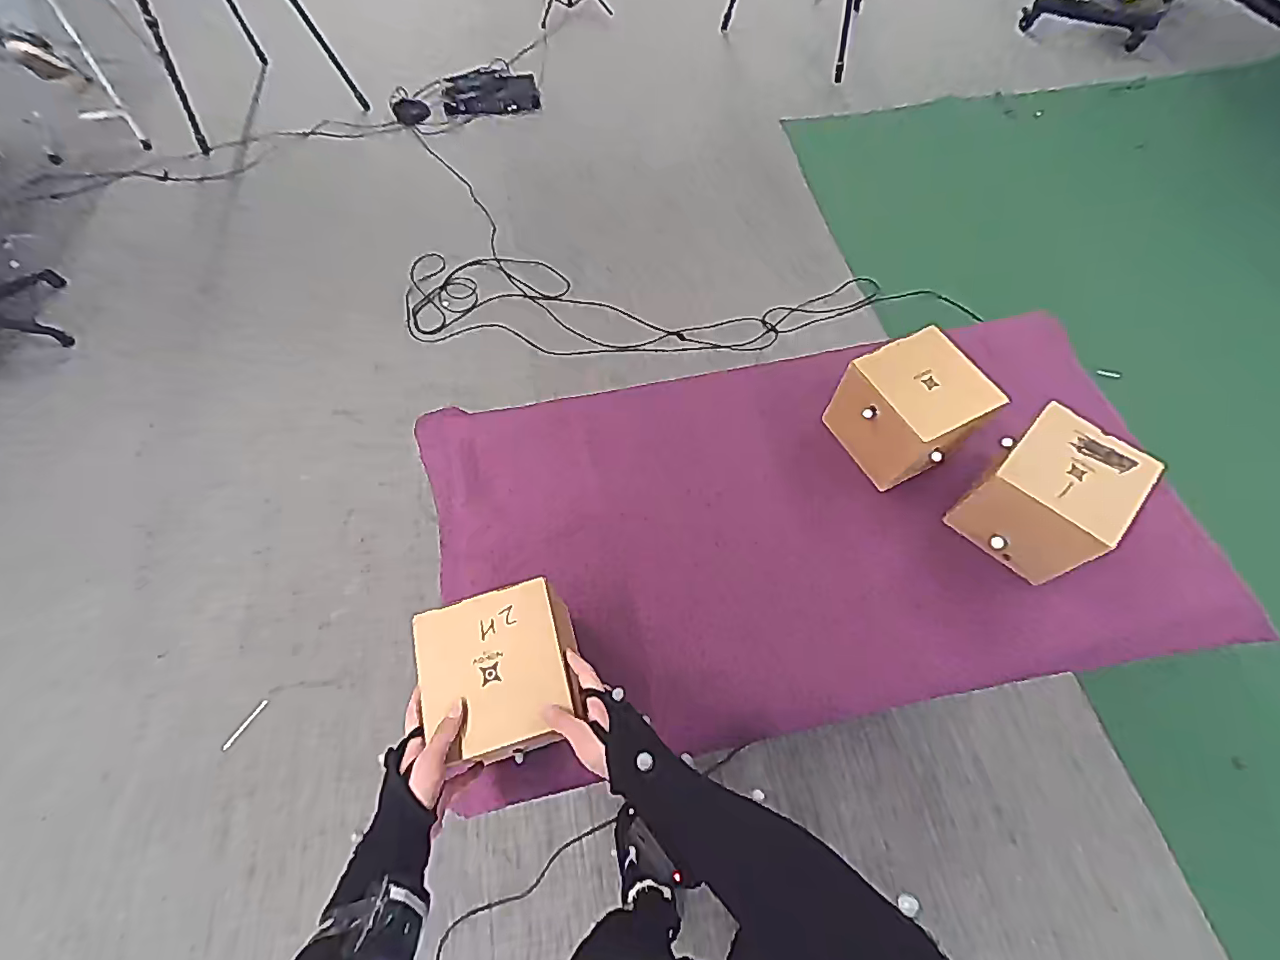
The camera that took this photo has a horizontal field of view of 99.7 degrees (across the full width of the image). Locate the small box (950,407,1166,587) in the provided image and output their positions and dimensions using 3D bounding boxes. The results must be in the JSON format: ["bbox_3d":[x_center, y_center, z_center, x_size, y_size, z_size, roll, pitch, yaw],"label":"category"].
[{"bbox_3d":[0.615,0.031,0.819,0.168,0.176,0.179,41,71,20],"label":"small box"}]

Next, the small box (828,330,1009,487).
[{"bbox_3d":[0.446,-0.108,0.899,0.168,0.176,0.179,-24,64,-11],"label":"small box"}]

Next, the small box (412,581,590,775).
[{"bbox_3d":[-0.167,0.251,0.685,0.168,0.176,0.179,-16,64,-5],"label":"small box"}]
